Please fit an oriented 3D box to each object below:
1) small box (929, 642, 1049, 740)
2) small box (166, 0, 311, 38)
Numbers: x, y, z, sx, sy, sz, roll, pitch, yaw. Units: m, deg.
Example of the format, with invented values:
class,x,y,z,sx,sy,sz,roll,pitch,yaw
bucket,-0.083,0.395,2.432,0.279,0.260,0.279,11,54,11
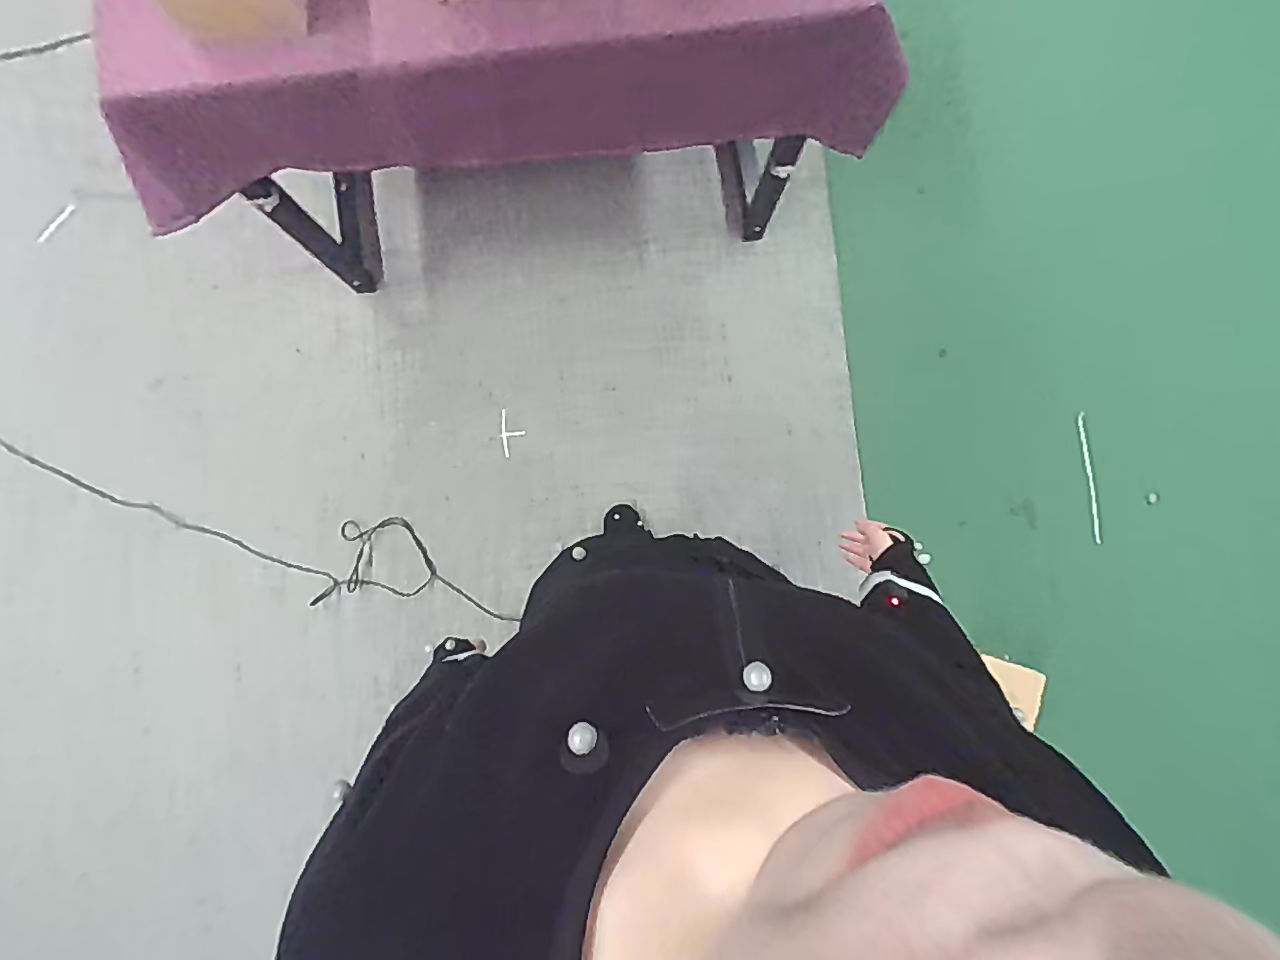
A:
class,x,y,z,sx,sy,sz,roll,pitch,yaw
small box,0.898,0.538,1.404,0.179,0.176,0.168,19,85,0
small box,-0.592,-0.758,0.749,0.179,0.176,0.168,-4,85,-3
